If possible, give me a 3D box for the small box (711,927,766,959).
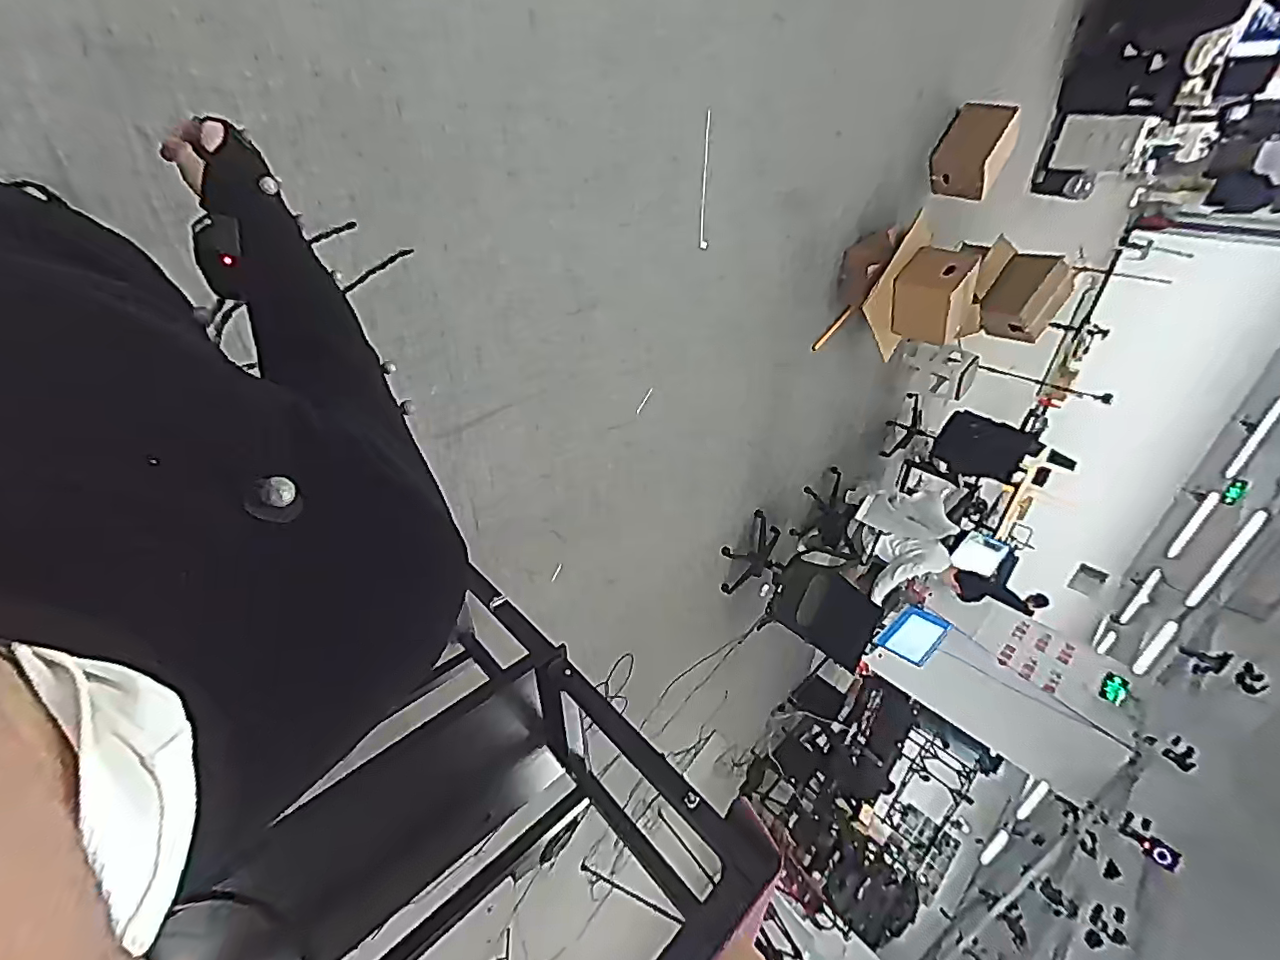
[{"bbox_3d":[0.181,0.999,1.002,0.179,0.176,0.168,-30,135,-34],"label":"small box"}]
